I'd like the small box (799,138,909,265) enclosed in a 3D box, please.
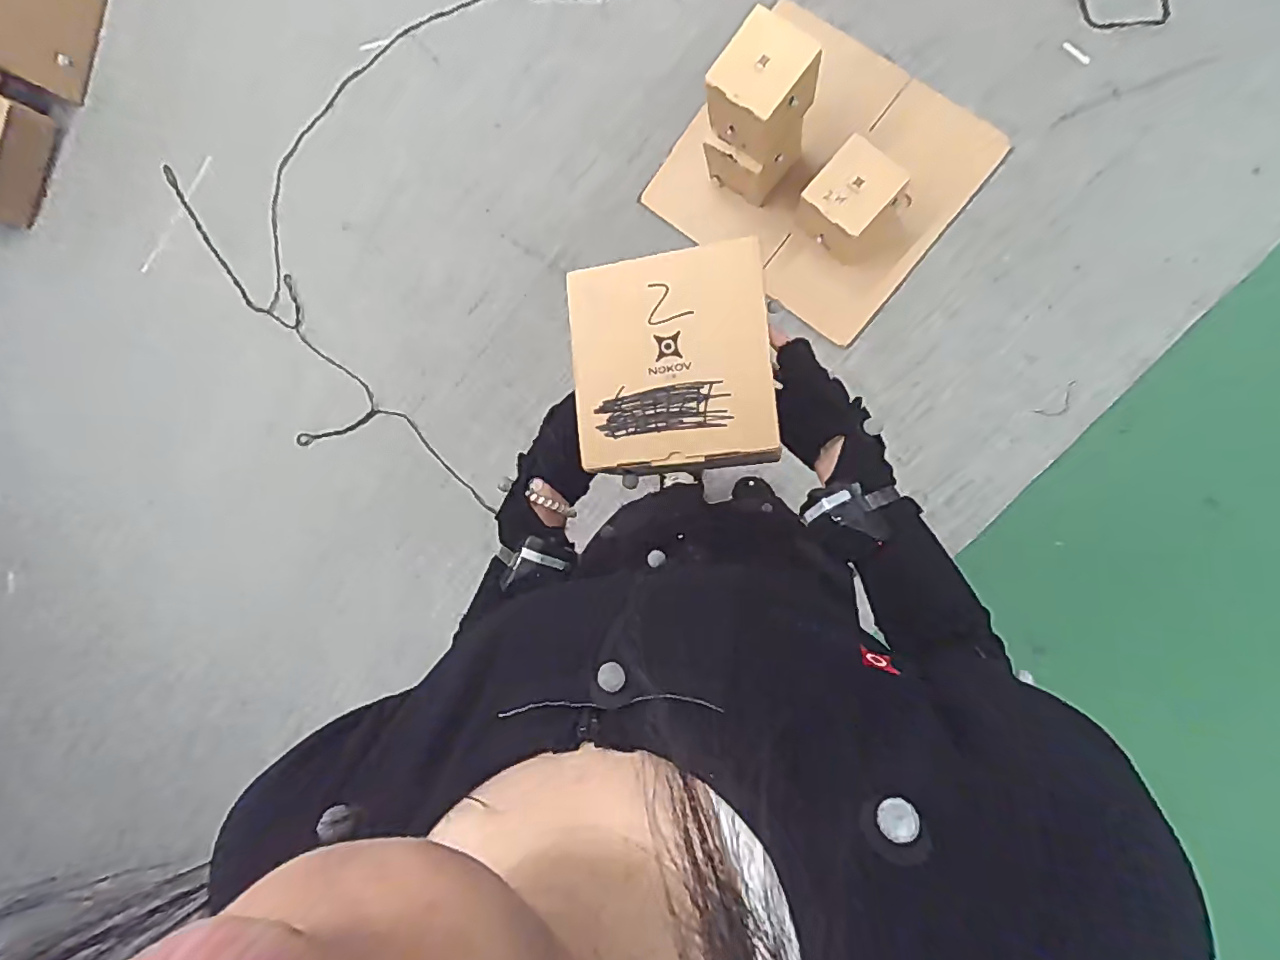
[{"bbox_3d":[0.497,-0.654,1.292,0.168,0.176,0.179,44,101,9],"label":"small box"}]

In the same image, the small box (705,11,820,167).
[{"bbox_3d":[0.259,-0.832,1.170,0.168,0.176,0.179,40,99,8],"label":"small box"}]

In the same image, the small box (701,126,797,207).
[{"bbox_3d":[0.274,-0.817,1.334,0.168,0.176,0.179,37,99,9],"label":"small box"}]
